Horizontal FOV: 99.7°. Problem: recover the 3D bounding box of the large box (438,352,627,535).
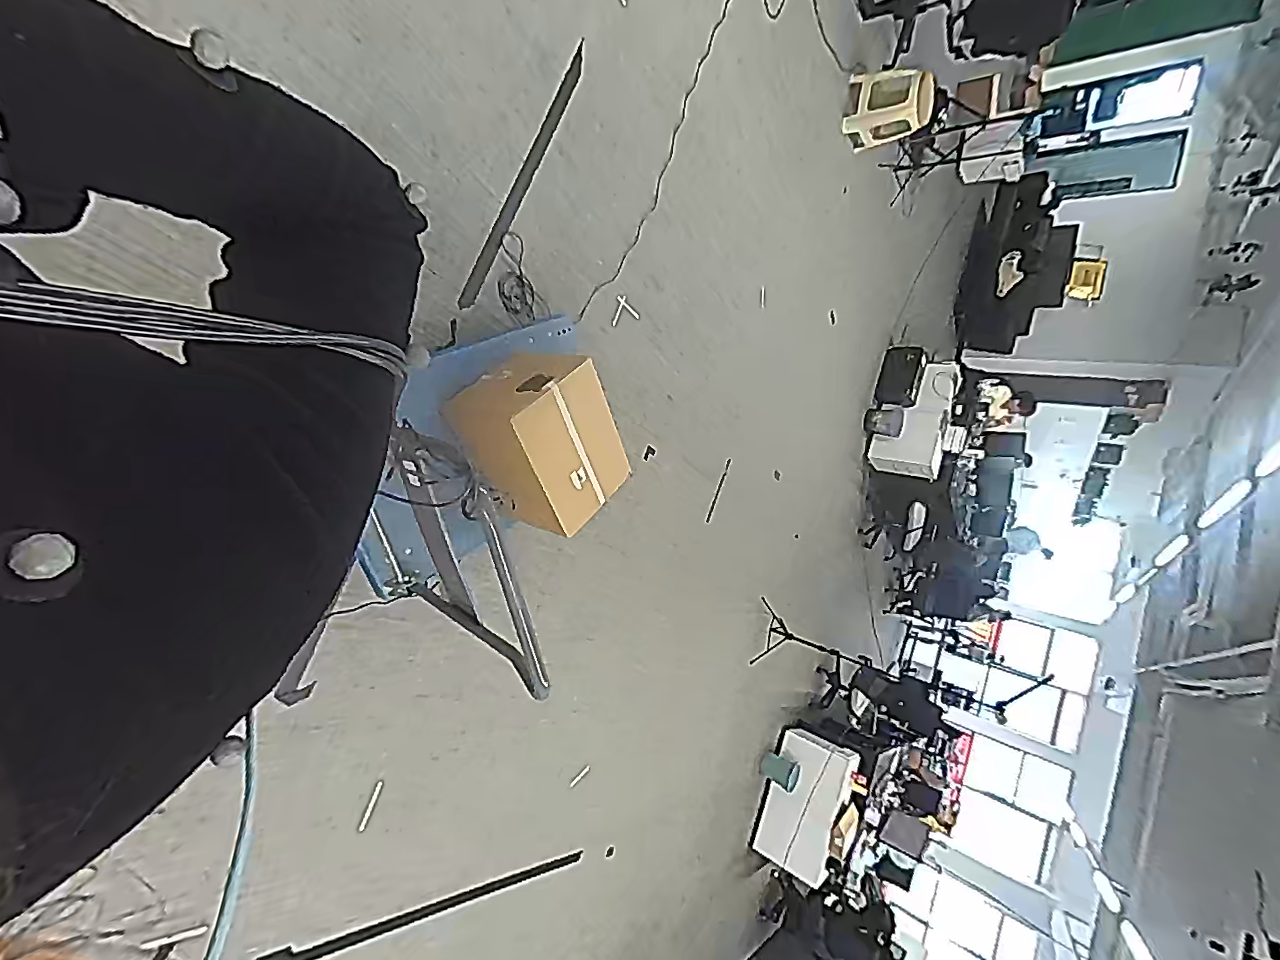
[{"bbox_3d":[-0.293,-0.114,1.554,0.320,0.320,0.408,-46,134,-33],"label":"large box"}]
